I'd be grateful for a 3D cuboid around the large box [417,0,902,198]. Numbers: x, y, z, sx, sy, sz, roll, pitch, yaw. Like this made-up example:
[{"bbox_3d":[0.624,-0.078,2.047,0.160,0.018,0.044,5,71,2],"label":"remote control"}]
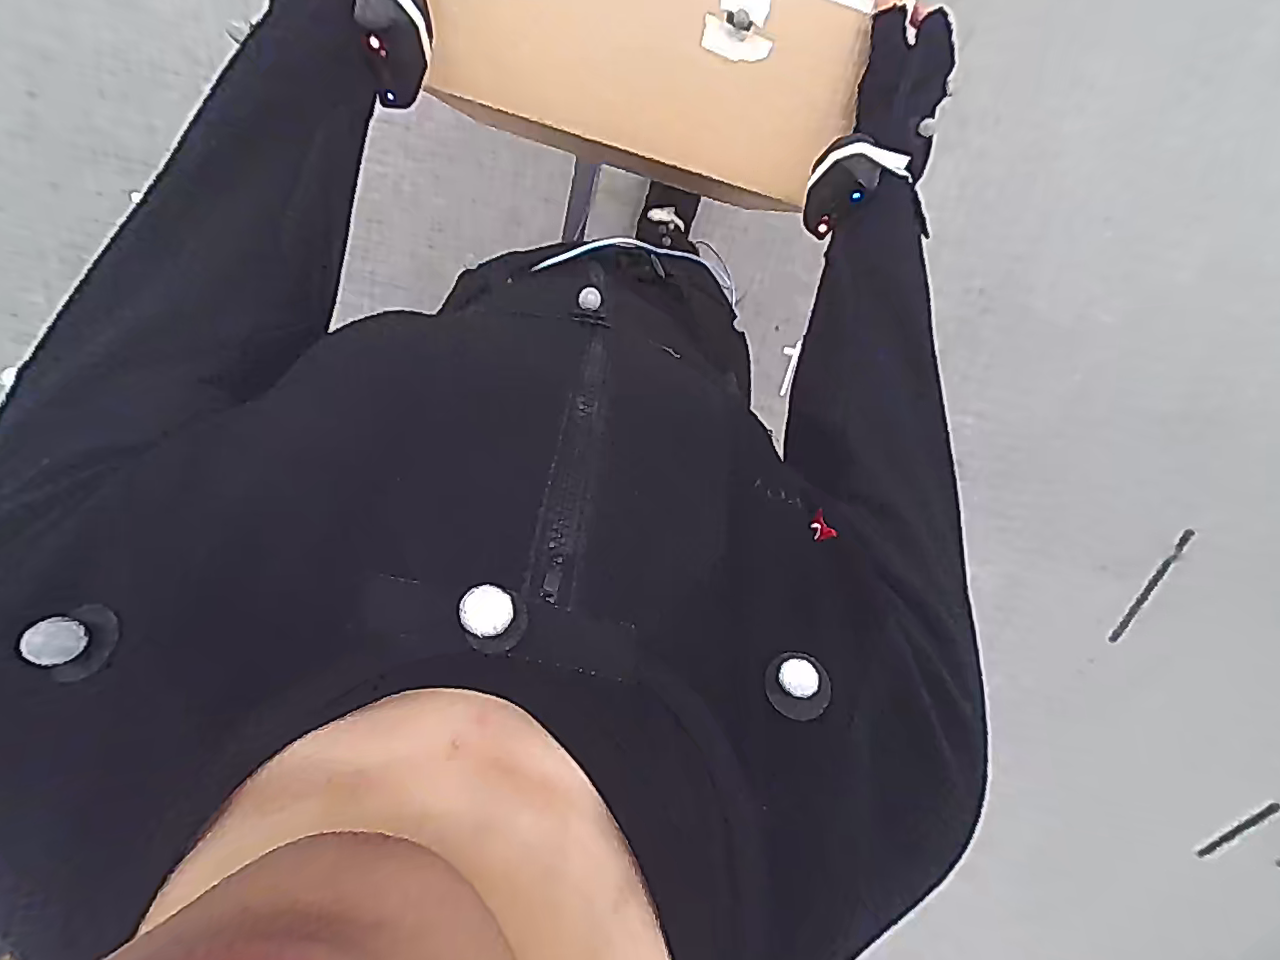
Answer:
[{"bbox_3d":[0.021,-0.513,0.565,0.408,0.320,0.320,11,117,-11],"label":"large box"}]
